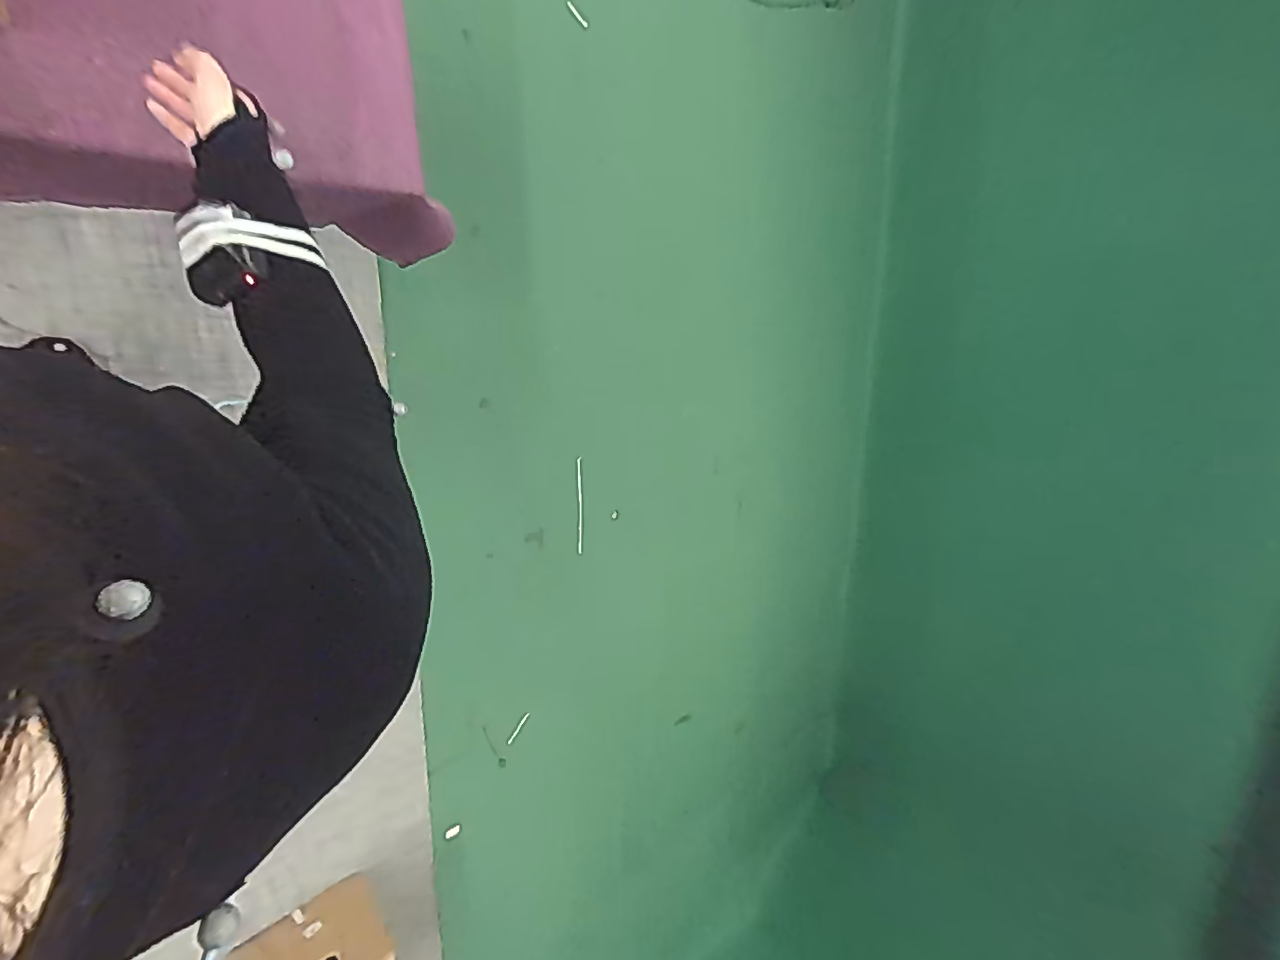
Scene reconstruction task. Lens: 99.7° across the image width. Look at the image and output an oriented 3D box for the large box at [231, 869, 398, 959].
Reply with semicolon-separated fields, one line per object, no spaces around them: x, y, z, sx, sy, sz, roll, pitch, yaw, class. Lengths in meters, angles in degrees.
-0.865;1.408;1.479;0.320;0.320;0.408;-15;111;-44;large box
